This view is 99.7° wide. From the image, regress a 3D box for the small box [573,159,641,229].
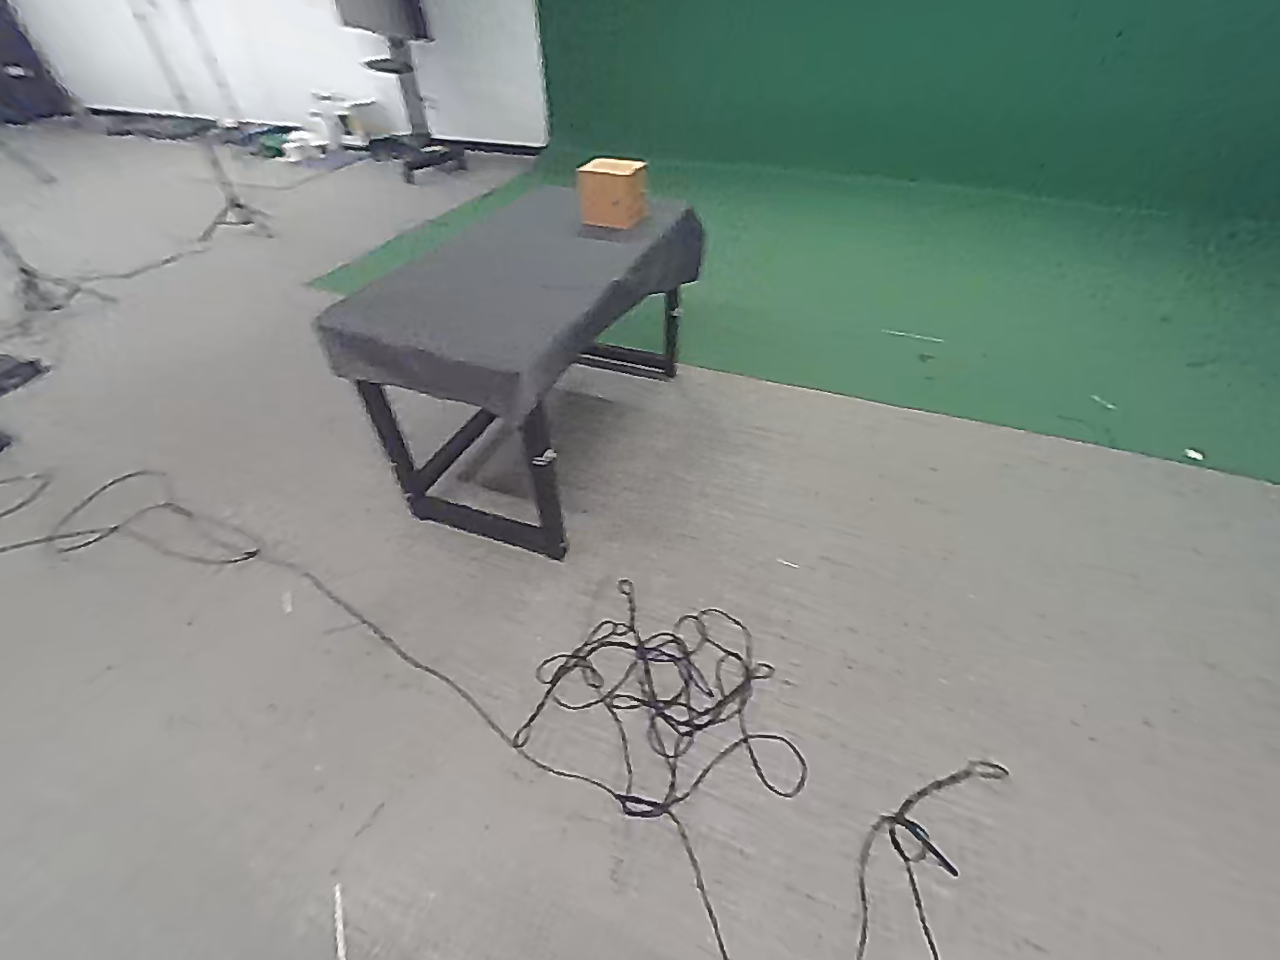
[{"bbox_3d":[-0.105,-0.960,1.819,0.179,0.176,0.168,14,45,17],"label":"small box"}]
